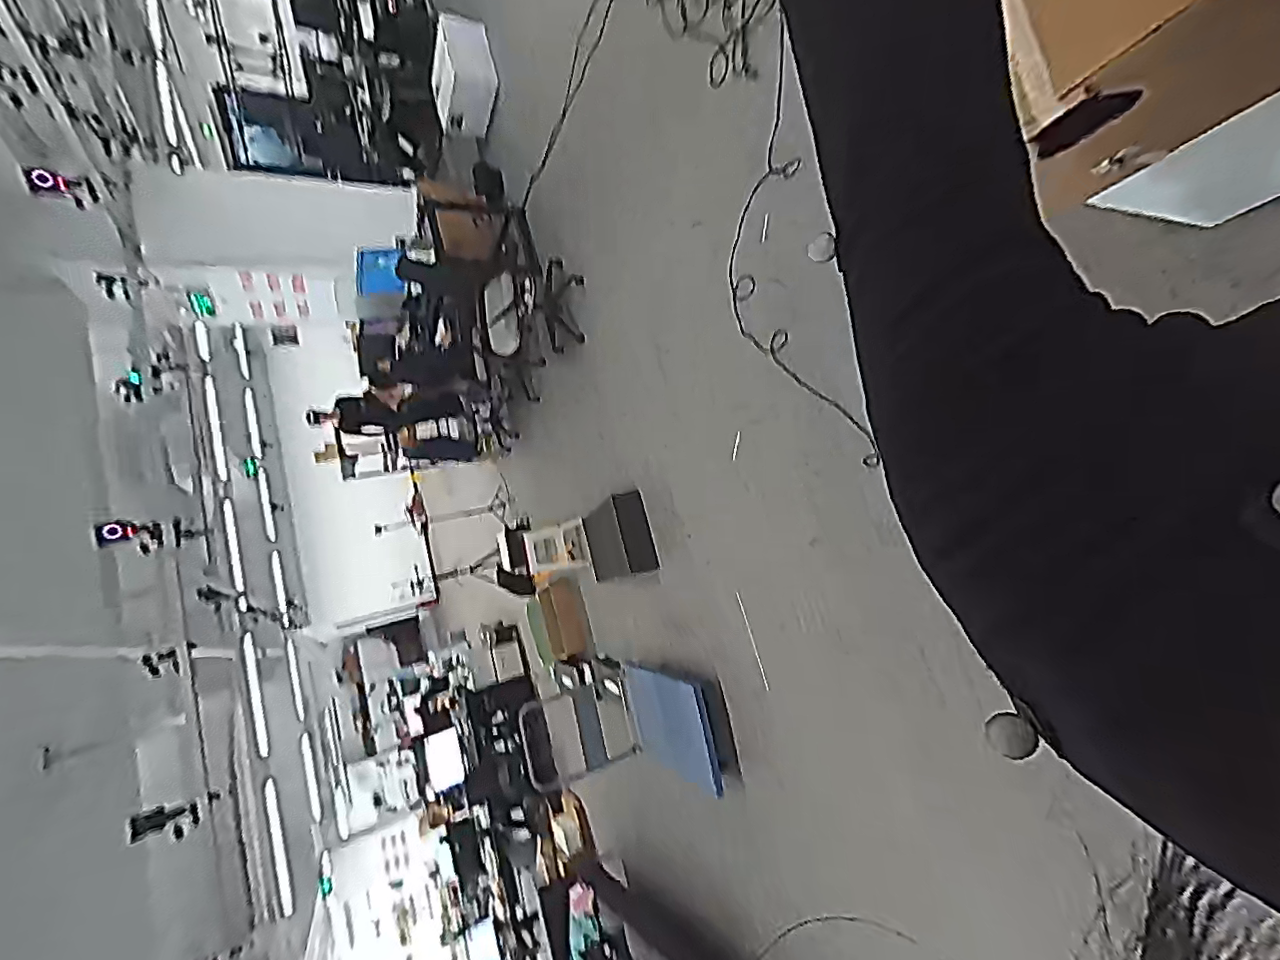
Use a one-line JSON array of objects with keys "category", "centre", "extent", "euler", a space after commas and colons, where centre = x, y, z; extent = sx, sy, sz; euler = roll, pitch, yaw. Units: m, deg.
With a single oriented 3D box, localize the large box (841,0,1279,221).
[{"category": "large box", "centre": [0.483, -0.583, 0.631], "extent": [0.320, 0.320, 0.408], "euler": [-25, 76, 60]}]
